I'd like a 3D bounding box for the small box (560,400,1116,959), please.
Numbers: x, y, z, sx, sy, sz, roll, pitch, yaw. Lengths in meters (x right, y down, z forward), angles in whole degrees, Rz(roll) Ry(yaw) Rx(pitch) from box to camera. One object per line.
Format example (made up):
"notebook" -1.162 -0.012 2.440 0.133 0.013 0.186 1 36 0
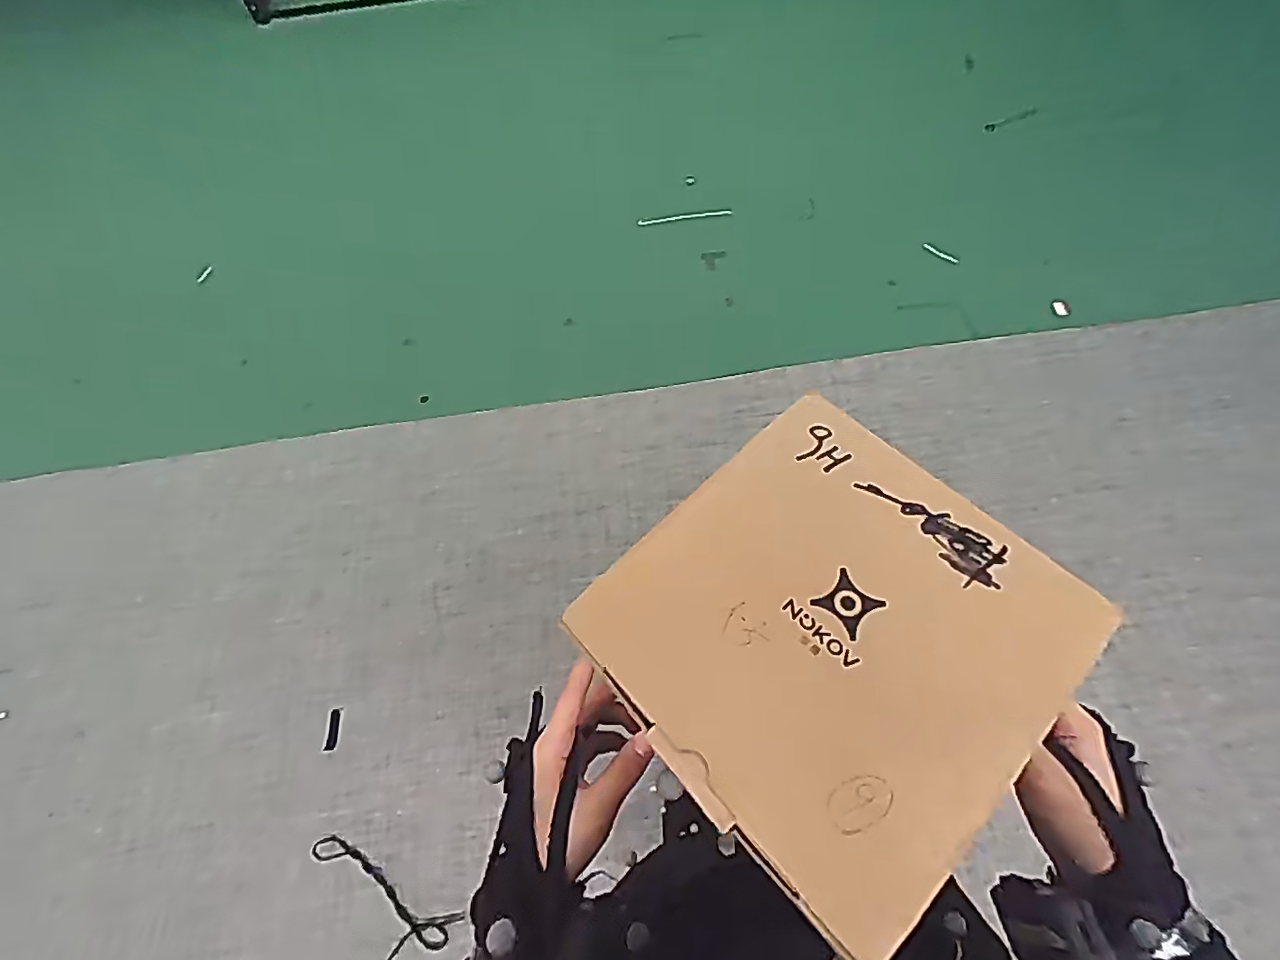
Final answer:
"small box" 0.087 0.098 0.301 0.179 0.176 0.168 -41 66 -15
